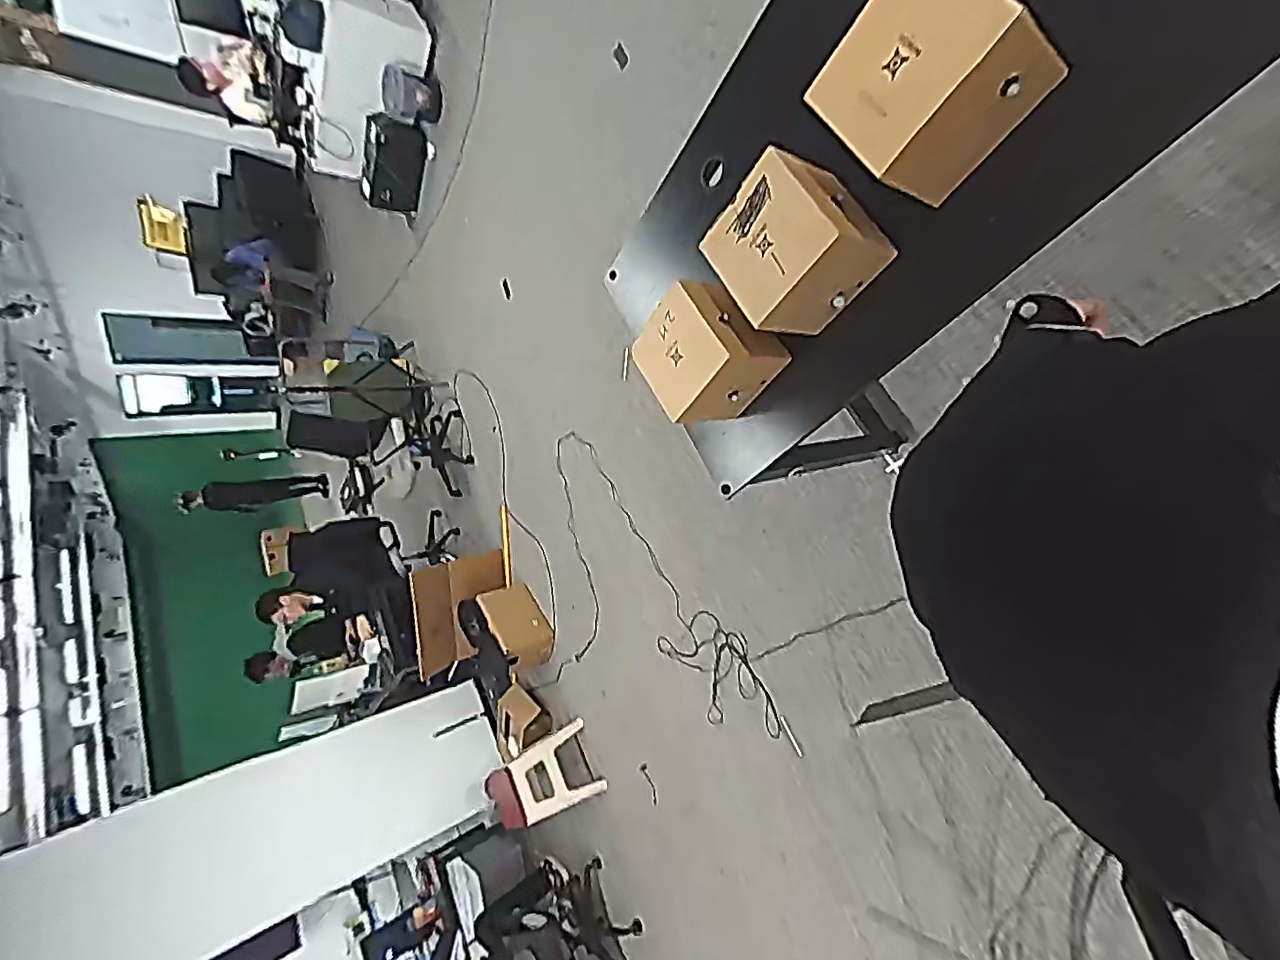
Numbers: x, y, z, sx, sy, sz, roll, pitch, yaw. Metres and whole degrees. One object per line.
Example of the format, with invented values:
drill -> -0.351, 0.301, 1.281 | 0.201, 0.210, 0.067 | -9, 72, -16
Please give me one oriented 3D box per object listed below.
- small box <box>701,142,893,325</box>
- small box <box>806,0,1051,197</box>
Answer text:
small box -> 0.229, -0.347, 0.797 | 0.168, 0.176, 0.179 | -47, 63, 44
small box -> 0.343, -0.475, 0.640 | 0.179, 0.176, 0.168 | -48, 61, 44
